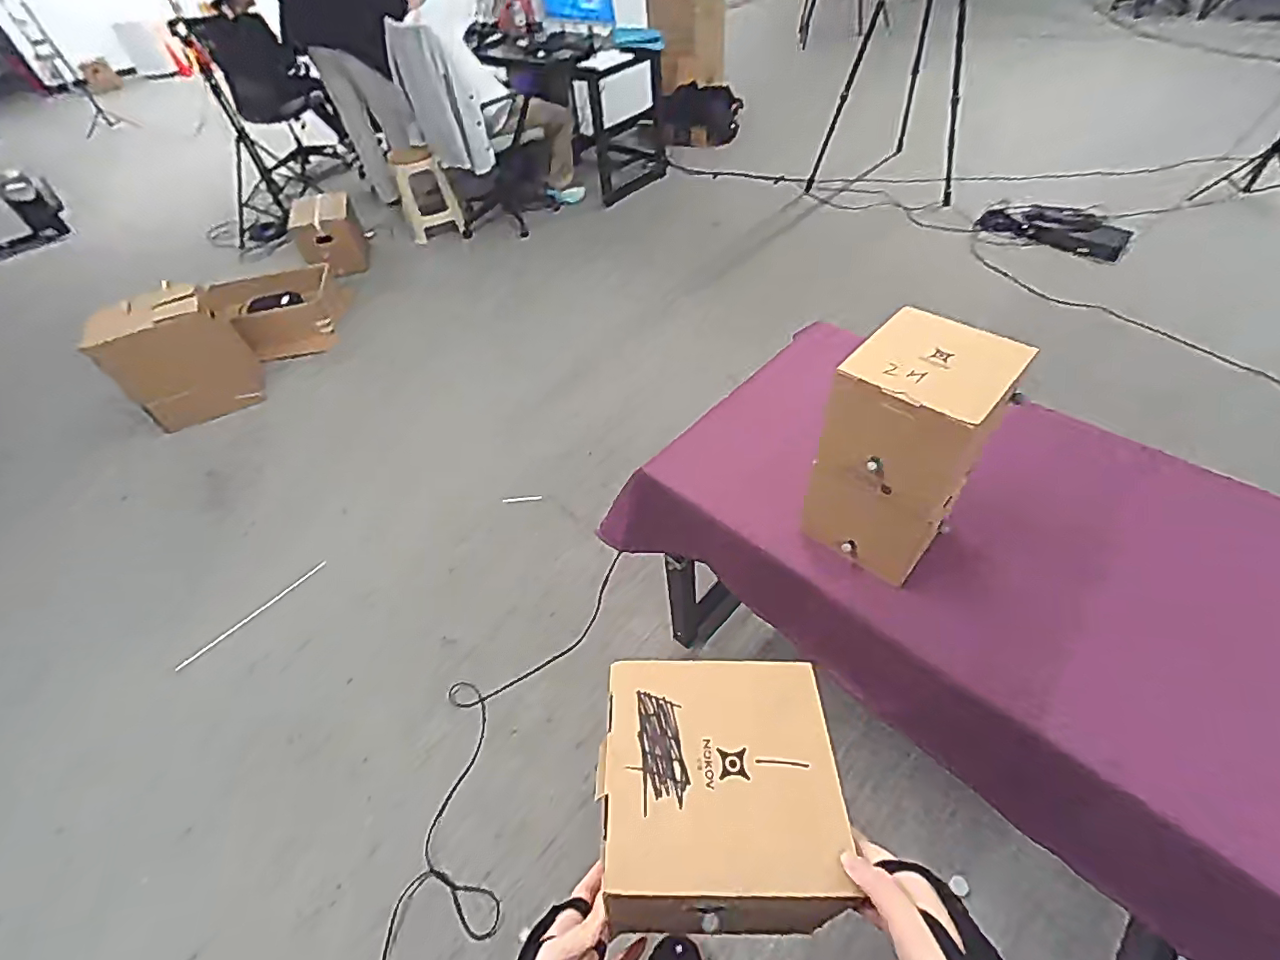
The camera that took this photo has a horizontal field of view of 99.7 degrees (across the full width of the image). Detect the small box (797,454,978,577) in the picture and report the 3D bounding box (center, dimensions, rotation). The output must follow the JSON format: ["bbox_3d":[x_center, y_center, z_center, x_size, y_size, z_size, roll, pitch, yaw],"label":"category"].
[{"bbox_3d":[0.366,0.023,0.829,0.179,0.176,0.168,33,60,29],"label":"small box"}]

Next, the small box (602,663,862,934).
[{"bbox_3d":[0.060,0.276,0.467,0.179,0.176,0.168,1,44,-2],"label":"small box"}]

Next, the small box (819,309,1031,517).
[{"bbox_3d":[0.356,-0.087,0.706,0.168,0.176,0.179,34,61,31],"label":"small box"}]
